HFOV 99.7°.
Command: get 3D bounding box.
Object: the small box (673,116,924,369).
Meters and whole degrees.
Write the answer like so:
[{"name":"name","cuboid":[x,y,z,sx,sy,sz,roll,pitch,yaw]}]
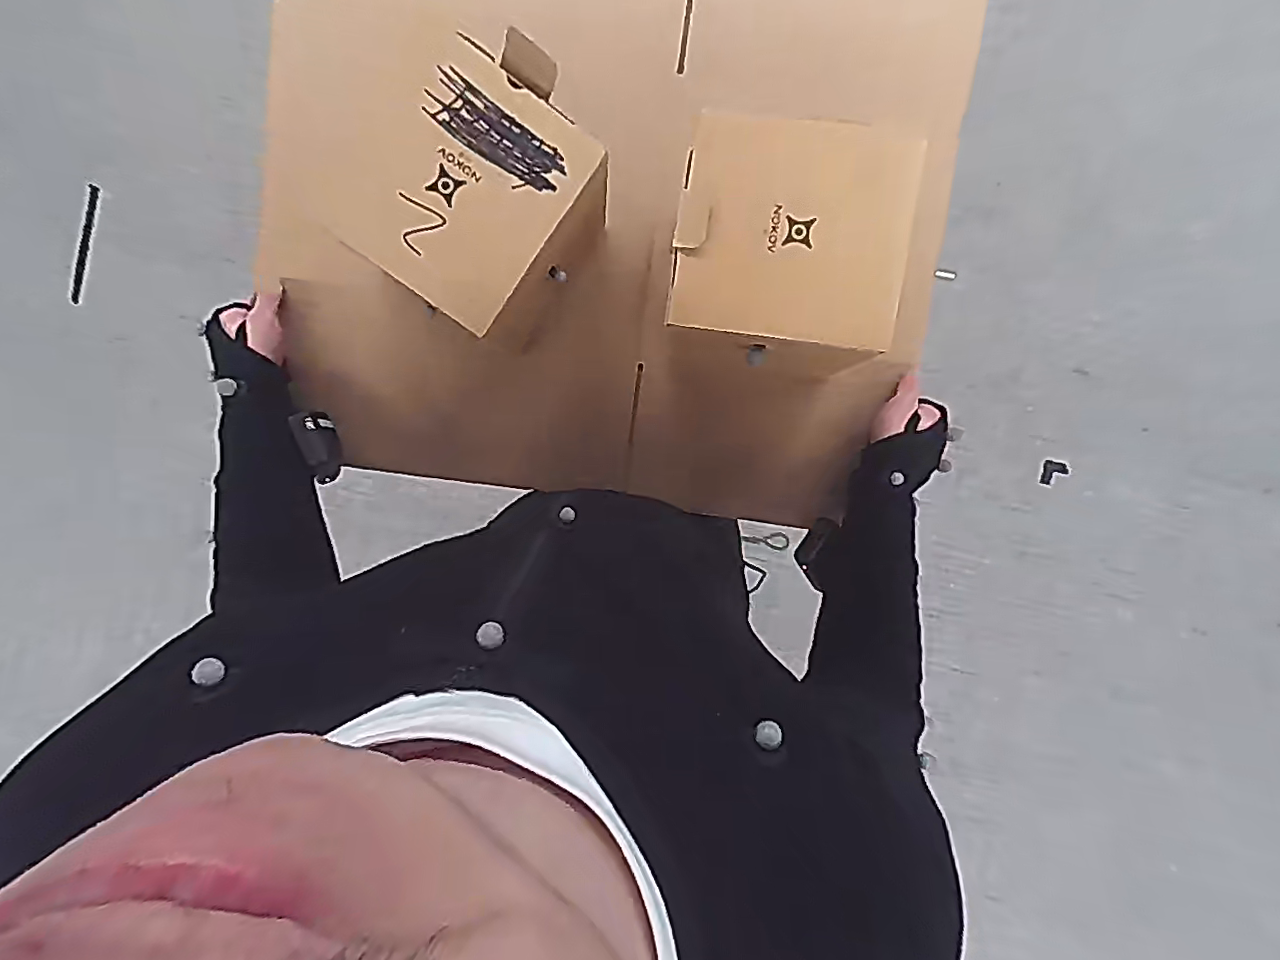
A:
[{"name":"small box","cuboid":[0.129,-0.202,0.508,0.179,0.176,0.168,8,95,4]}]
